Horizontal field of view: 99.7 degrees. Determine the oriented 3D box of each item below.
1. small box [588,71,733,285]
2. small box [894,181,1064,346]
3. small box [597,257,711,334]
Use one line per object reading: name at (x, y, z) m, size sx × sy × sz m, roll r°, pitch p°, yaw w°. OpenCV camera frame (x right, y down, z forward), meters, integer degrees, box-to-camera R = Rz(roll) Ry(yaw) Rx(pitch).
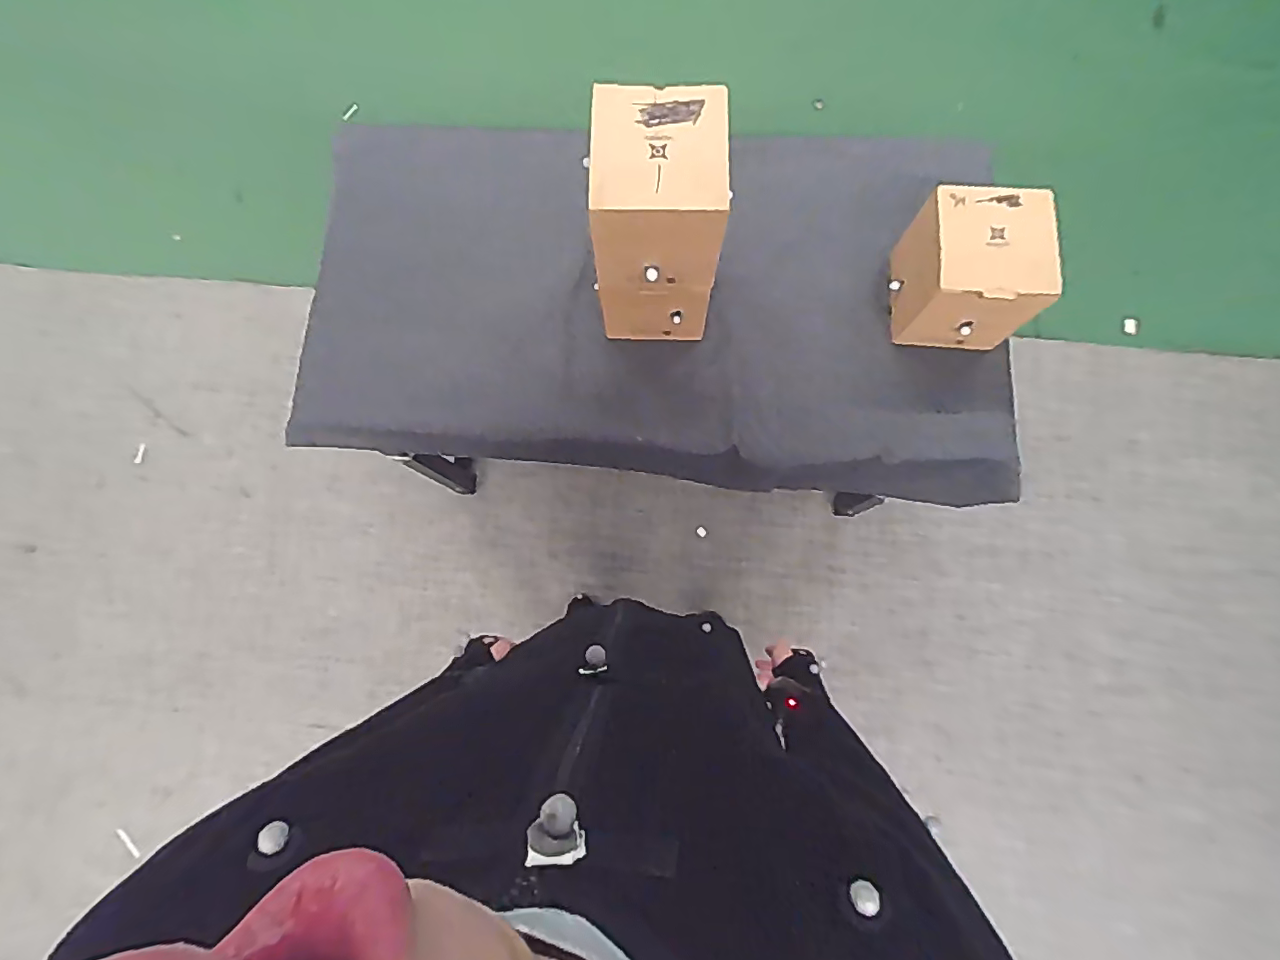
small box at (0.025, -0.378, 0.697) m, size 0.168 × 0.176 × 0.179 m, roll 1°, pitch 79°, yaw 1°
small box at (0.512, -0.324, 0.837) m, size 0.168 × 0.176 × 0.179 m, roll 5°, pitch 79°, yaw 3°
small box at (0.026, -0.347, 0.858) m, size 0.168 × 0.176 × 0.179 m, roll 2°, pitch 77°, yaw 1°
